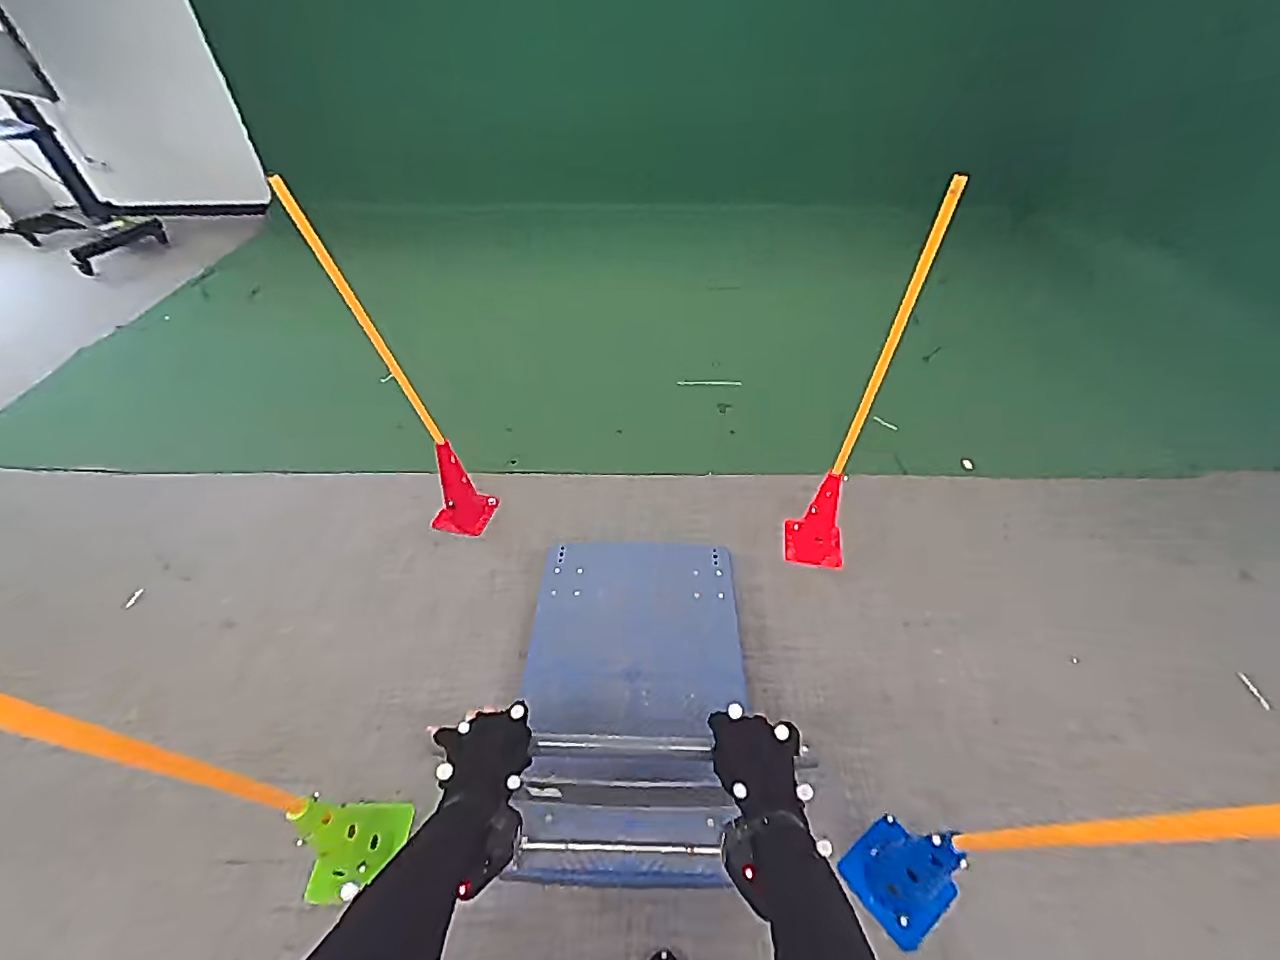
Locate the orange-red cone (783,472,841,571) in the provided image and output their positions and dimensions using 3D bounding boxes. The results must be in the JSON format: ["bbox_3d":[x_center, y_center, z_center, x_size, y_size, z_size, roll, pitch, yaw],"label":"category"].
[{"bbox_3d":[0.611,0.115,1.815,0.198,0.360,0.199,8,45,9],"label":"orange-red cone"}]
